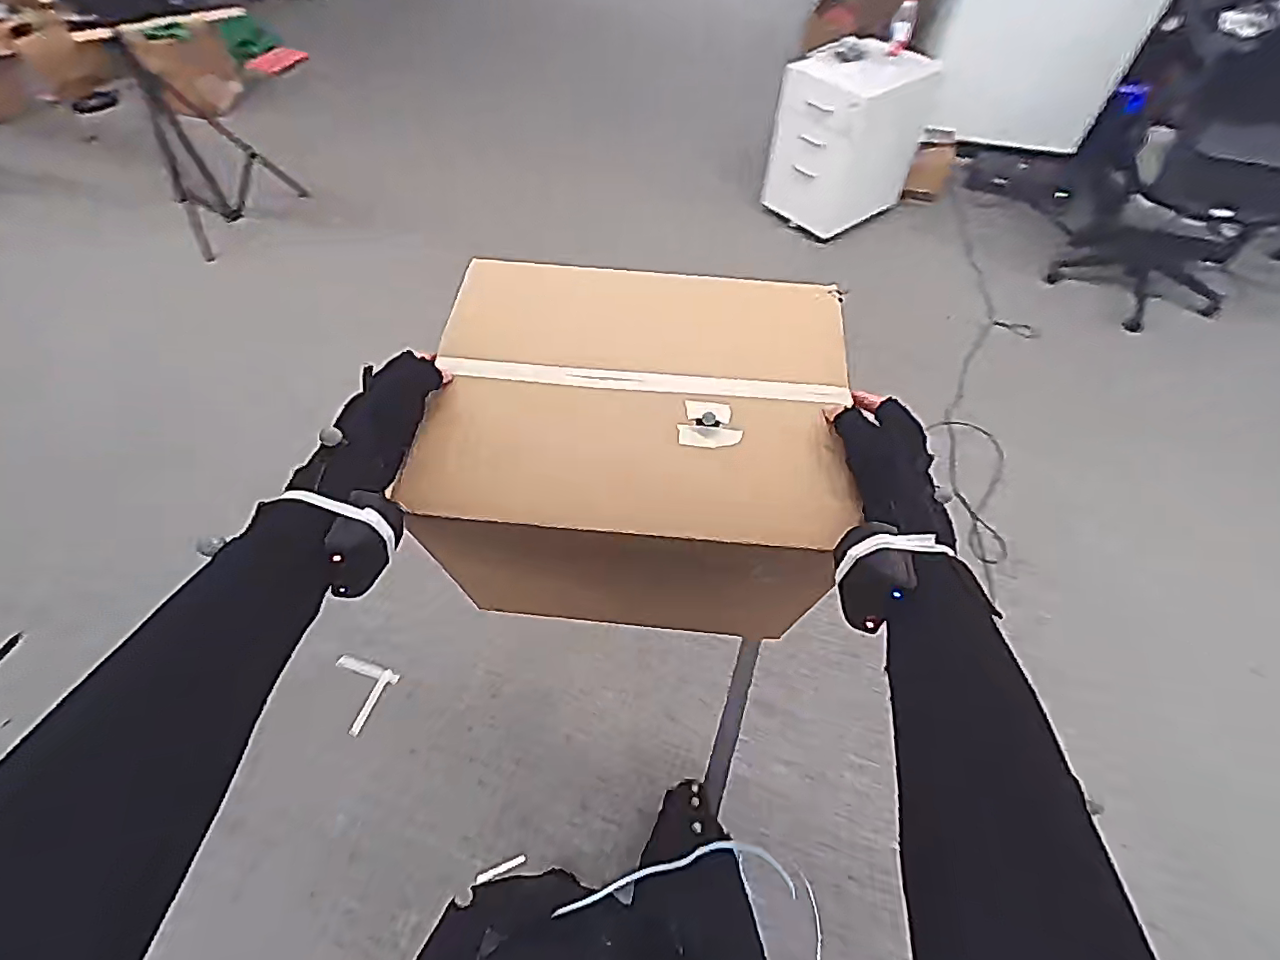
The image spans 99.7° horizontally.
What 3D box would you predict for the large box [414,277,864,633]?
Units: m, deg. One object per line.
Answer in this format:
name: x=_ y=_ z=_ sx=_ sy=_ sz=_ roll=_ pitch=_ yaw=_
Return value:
large box: x=0.005 y=-0.014 z=0.670 sx=0.408 sy=0.320 sz=0.320 roll=5 pitch=61 yaw=2
